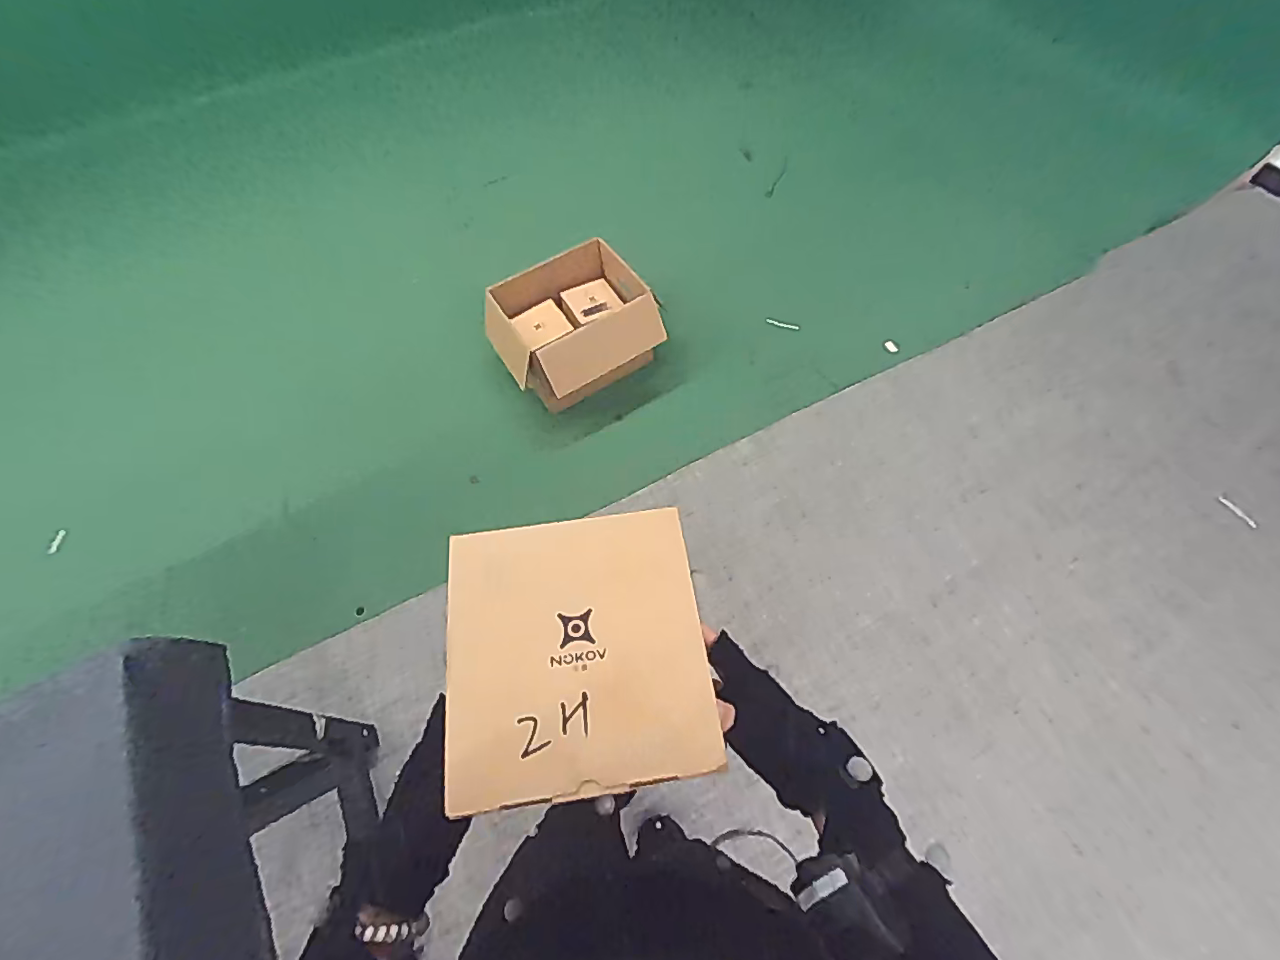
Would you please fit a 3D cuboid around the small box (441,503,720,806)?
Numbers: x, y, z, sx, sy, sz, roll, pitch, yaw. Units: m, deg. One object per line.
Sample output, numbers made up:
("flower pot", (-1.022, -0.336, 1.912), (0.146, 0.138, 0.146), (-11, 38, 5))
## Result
("small box", (-0.045, 0.139, 0.422), (0.168, 0.176, 0.179), (-7, 63, -4))
